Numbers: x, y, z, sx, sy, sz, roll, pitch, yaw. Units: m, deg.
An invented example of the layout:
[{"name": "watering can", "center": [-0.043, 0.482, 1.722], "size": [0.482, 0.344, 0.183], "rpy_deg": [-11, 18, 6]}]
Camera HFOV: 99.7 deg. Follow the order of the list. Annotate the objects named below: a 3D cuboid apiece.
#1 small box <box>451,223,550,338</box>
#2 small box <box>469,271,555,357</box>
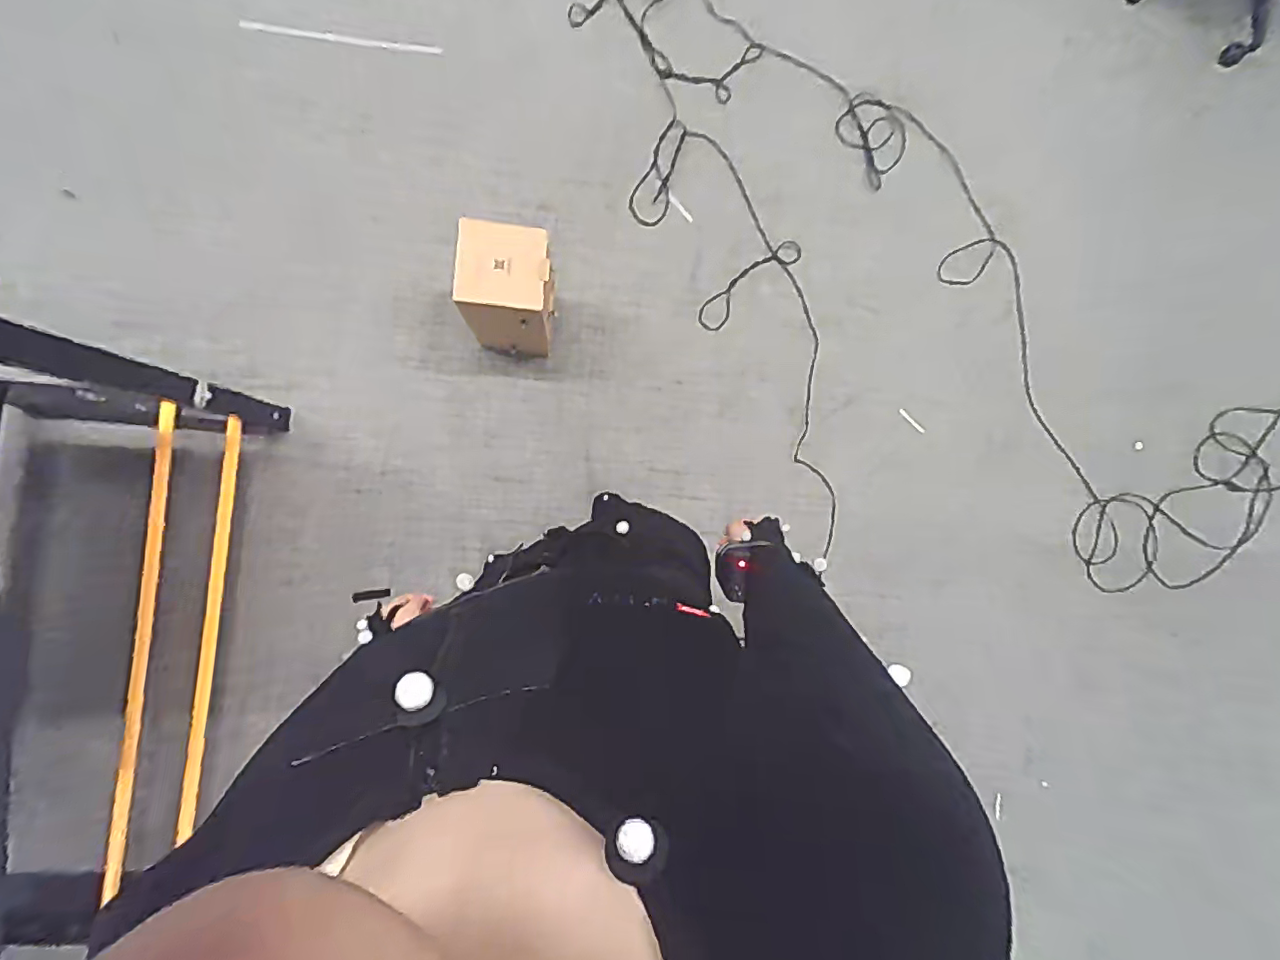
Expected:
[{"name": "small box", "center": [-0.282, -0.407, 1.133], "size": [0.179, 0.176, 0.168], "rpy_deg": [4, 86, -7]}, {"name": "small box", "center": [-0.302, -0.404, 1.293], "size": [0.179, 0.176, 0.168], "rpy_deg": [7, 85, -9]}]
